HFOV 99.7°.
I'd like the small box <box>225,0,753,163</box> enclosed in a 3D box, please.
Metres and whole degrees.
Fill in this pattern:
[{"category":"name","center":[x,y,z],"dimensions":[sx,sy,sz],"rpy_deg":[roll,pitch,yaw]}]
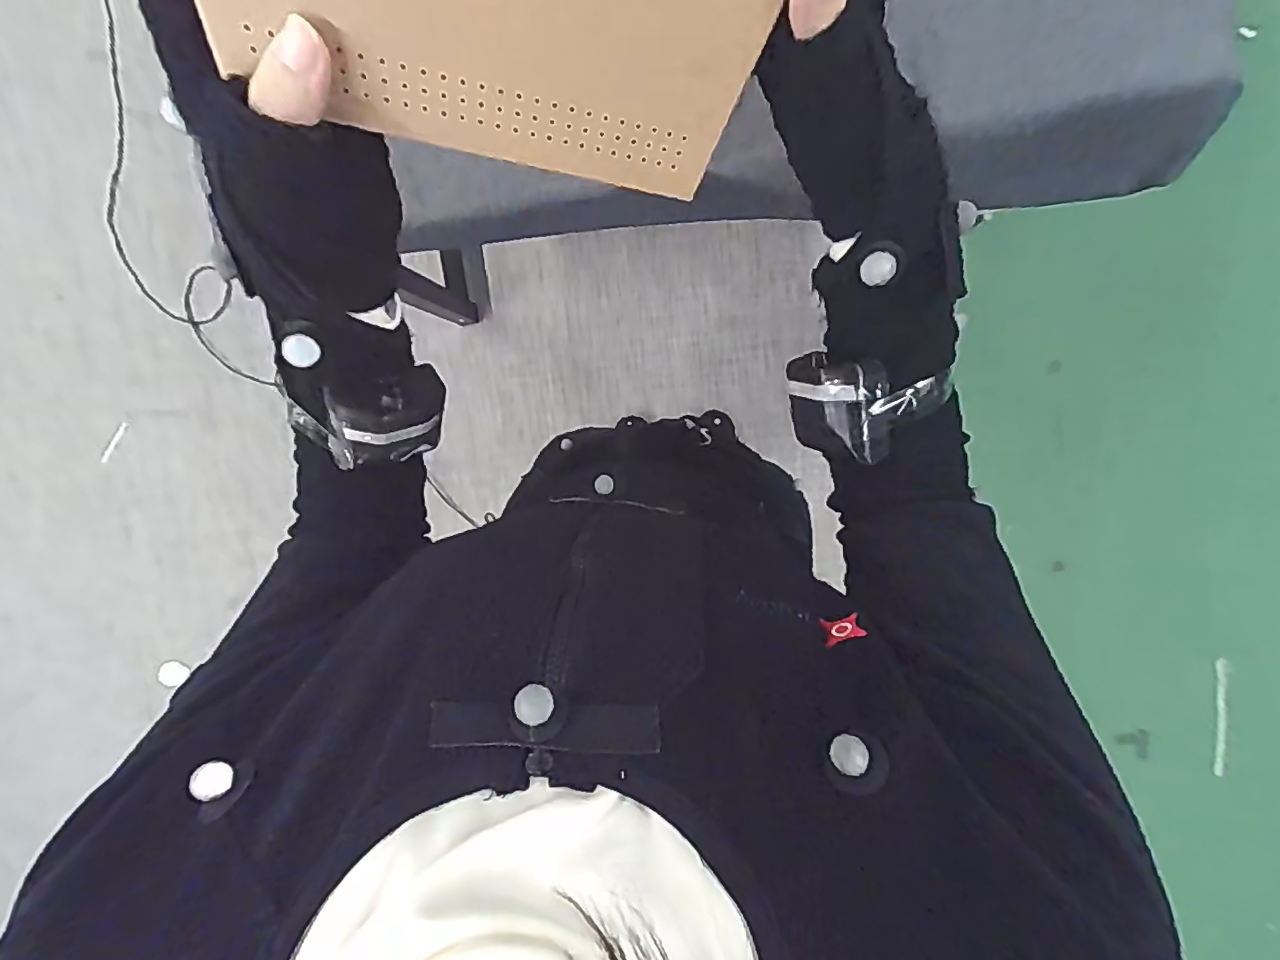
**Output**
[{"category":"small box","center":[-0.041,-0.242,0.175],"dimensions":[0.179,0.176,0.168],"rpy_deg":[2,67,-17]}]
